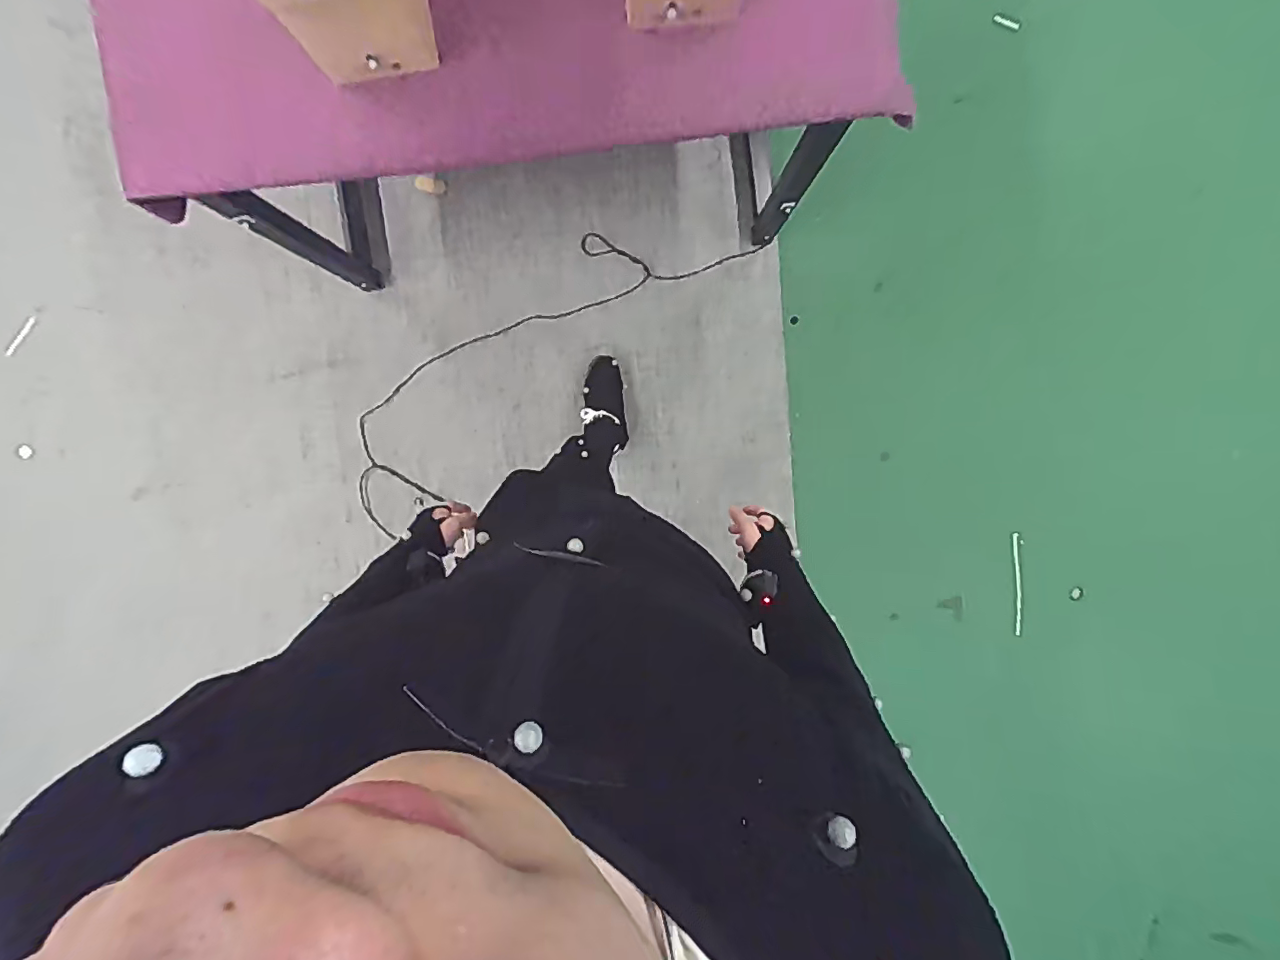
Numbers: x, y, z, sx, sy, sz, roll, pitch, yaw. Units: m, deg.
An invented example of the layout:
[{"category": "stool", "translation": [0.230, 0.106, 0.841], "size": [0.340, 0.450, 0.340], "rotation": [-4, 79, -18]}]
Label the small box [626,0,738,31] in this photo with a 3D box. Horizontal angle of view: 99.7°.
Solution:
[{"category": "small box", "translation": [0.055, -0.767, 0.733], "size": [0.168, 0.176, 0.179], "rotation": [-5, 94, 2]}]
